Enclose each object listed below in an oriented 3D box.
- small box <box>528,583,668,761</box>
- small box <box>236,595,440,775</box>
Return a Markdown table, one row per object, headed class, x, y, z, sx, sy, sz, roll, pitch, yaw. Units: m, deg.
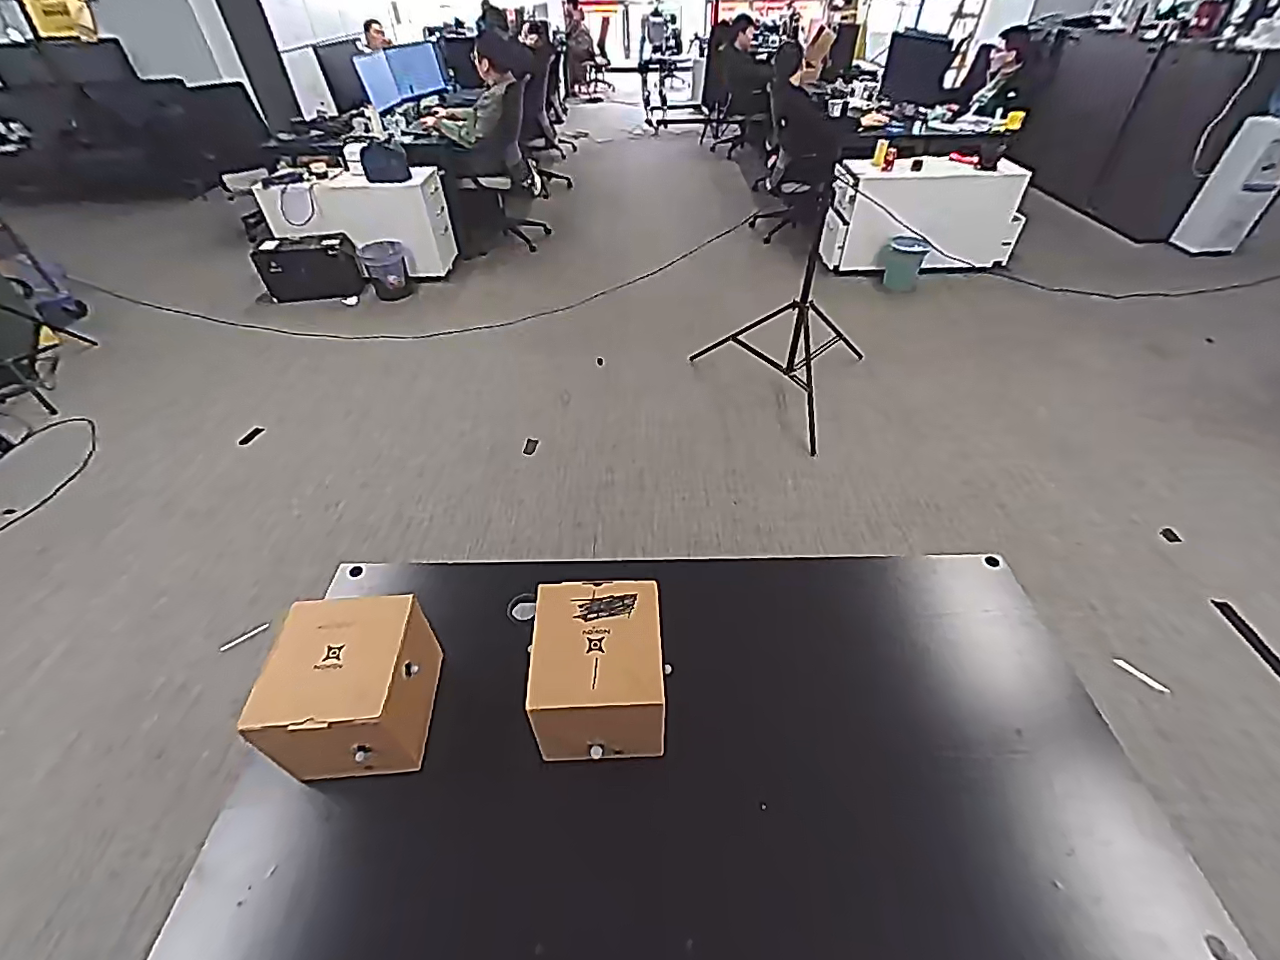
| class | x | y | z | sx | sy | sz | roll | pitch | yaw |
| --- | --- | --- | --- | --- | --- | --- | --- | --- | --- |
| small box | -0.051 | 0.261 | 0.740 | 0.168 | 0.176 | 0.179 | -2 | 44 | -1 |
| small box | -0.383 | 0.279 | 0.728 | 0.168 | 0.176 | 0.179 | -3 | 43 | -4 |
